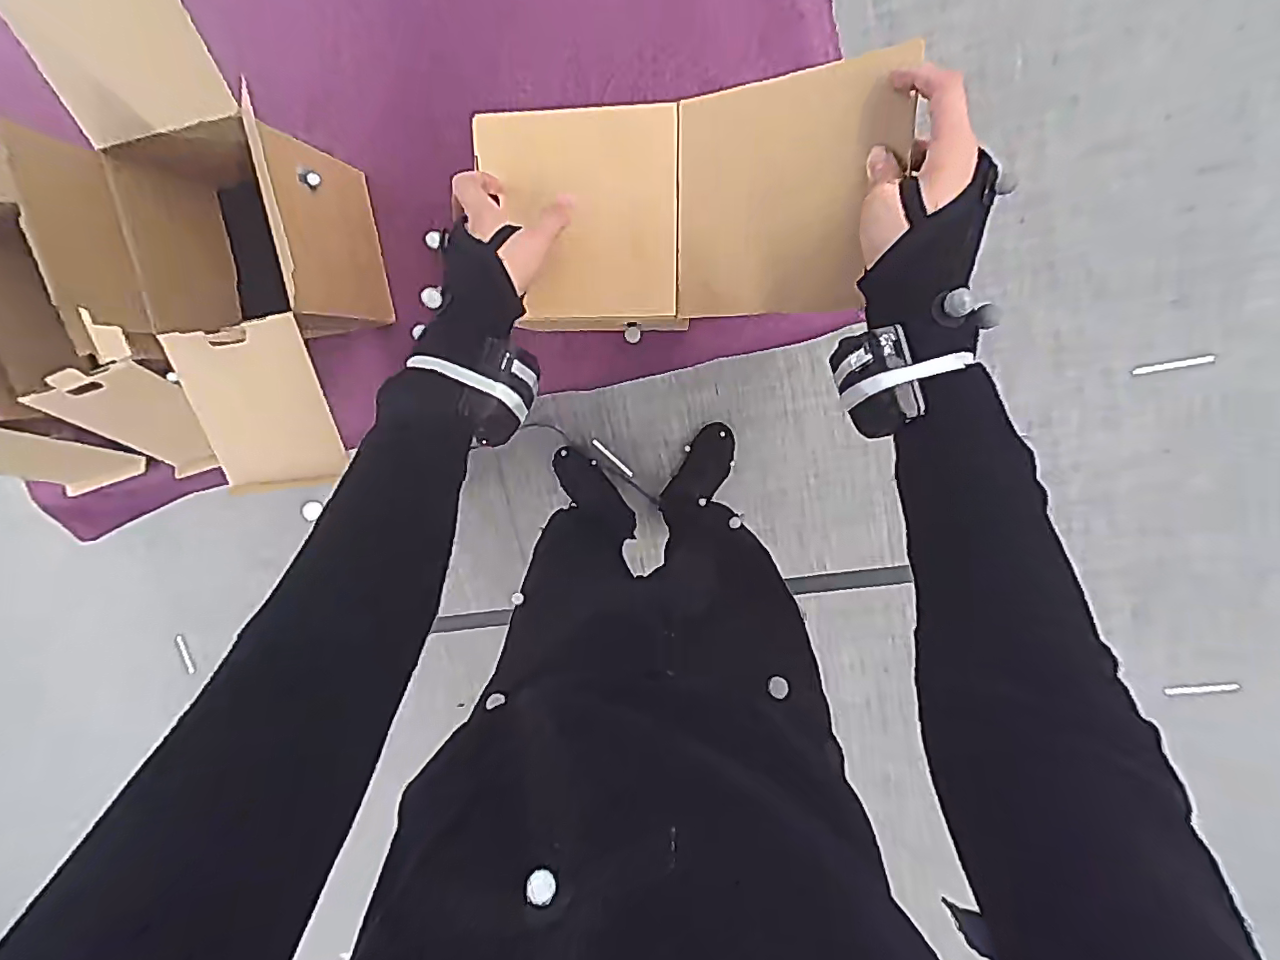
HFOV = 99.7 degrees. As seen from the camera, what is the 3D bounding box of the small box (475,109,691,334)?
[{"bbox_3d":[-0.041,-0.234,0.529,0.179,0.176,0.168,2,102,7],"label":"small box"}]
